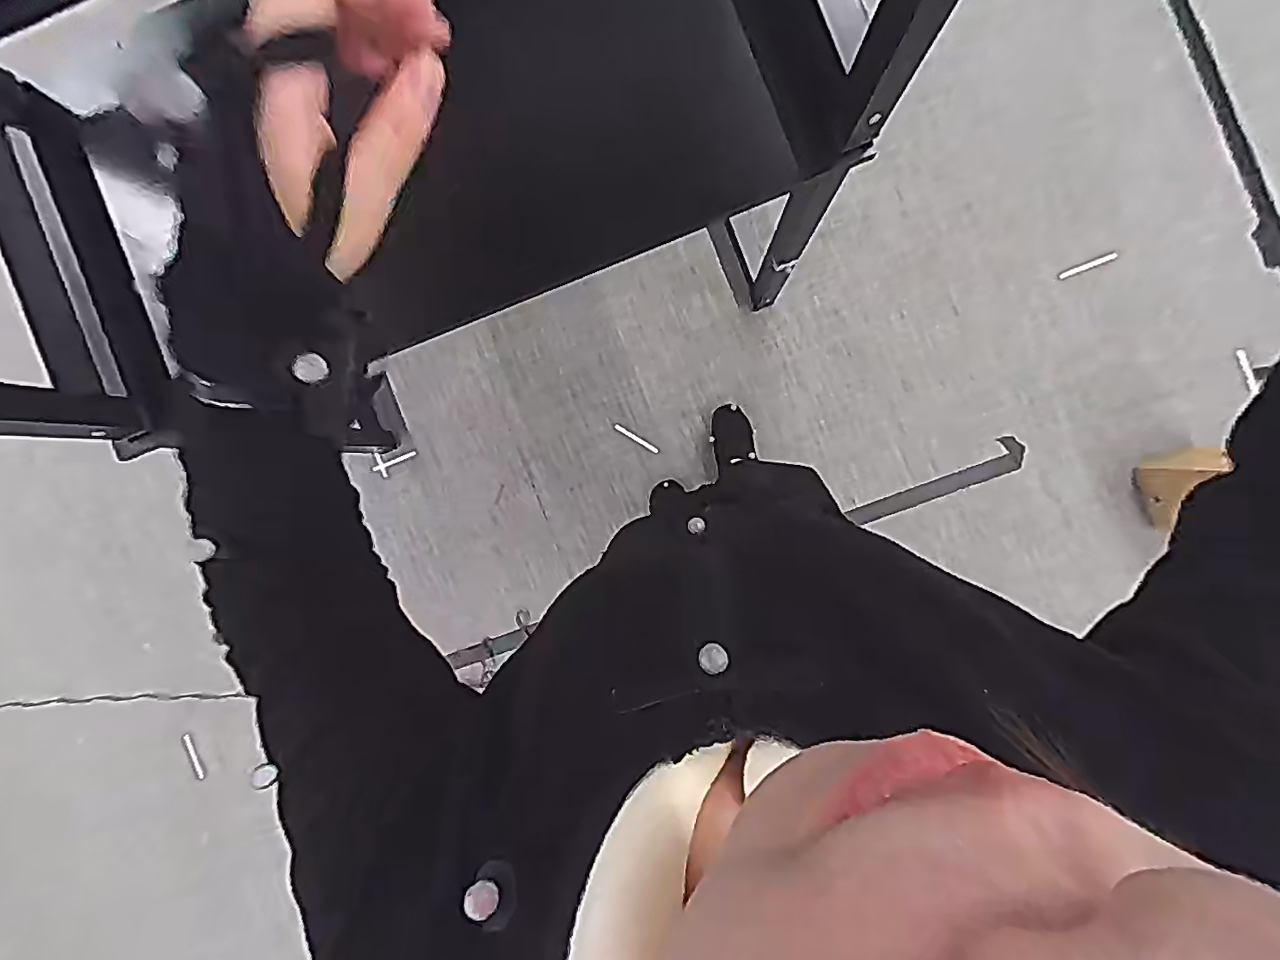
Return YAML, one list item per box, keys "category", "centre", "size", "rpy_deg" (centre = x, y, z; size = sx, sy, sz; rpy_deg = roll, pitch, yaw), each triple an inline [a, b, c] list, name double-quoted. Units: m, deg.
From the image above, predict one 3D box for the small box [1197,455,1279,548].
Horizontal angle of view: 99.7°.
- category: "small box"
  centre: [1.376, 0.043, 1.174]
  size: [0.179, 0.176, 0.168]
  rpy_deg: [-15, 91, 3]

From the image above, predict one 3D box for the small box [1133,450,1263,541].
- category: "small box"
  centre: [1.389, 0.031, 1.338]
  size: [0.168, 0.176, 0.179]
  rpy_deg: [-19, 92, 4]
